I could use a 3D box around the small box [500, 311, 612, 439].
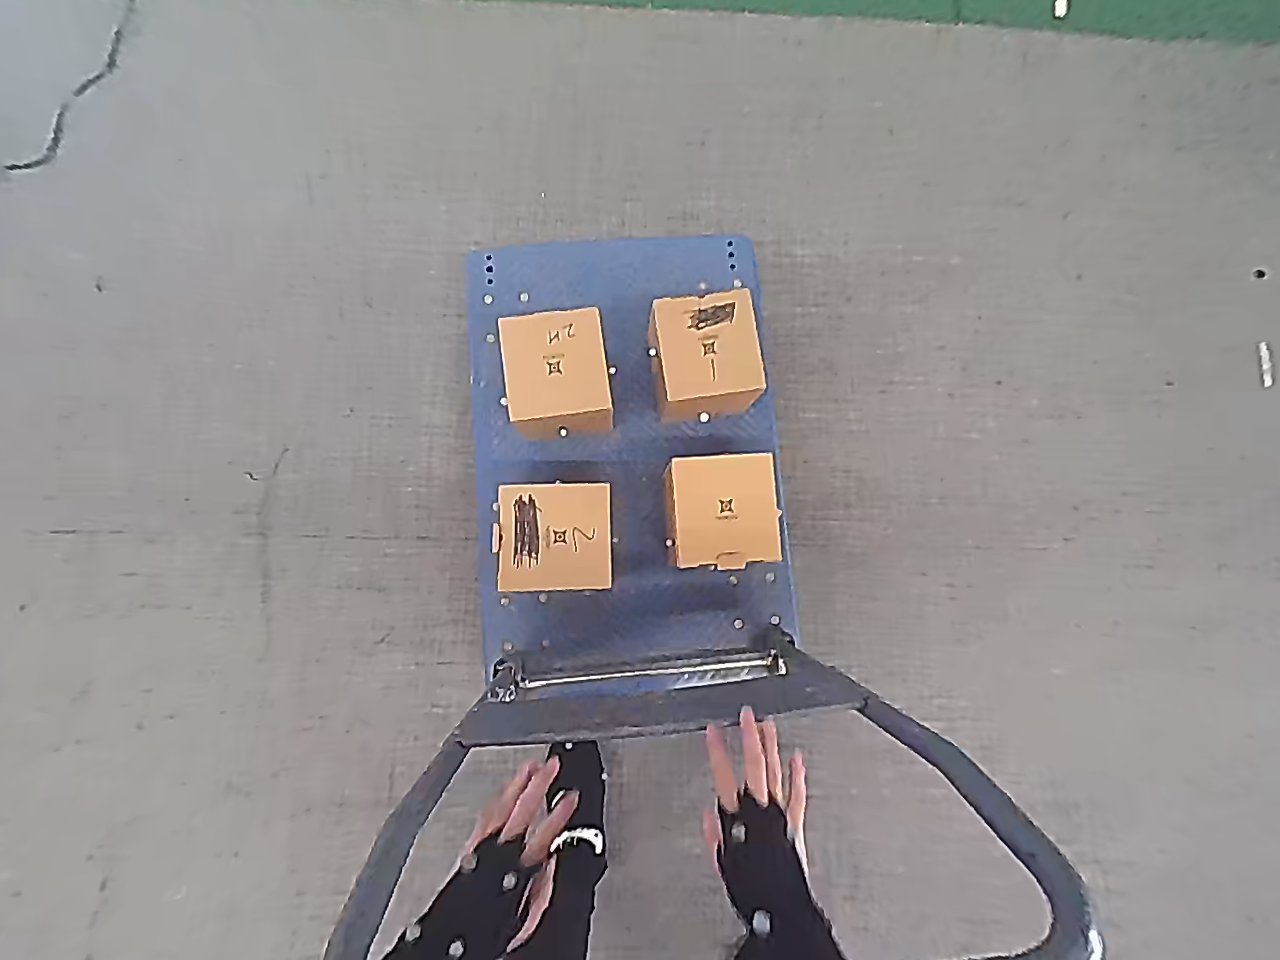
[{"bbox_3d":[-0.139,-0.173,0.947,0.168,0.176,0.179,-7,83,-4],"label":"small box"}]

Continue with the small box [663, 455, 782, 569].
[{"bbox_3d":[0.133,0.059,0.932,0.168,0.176,0.179,-3,84,-3],"label":"small box"}]

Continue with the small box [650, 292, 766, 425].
[{"bbox_3d":[0.112,-0.208,0.963,0.168,0.176,0.179,-8,84,-3],"label":"small box"}]
